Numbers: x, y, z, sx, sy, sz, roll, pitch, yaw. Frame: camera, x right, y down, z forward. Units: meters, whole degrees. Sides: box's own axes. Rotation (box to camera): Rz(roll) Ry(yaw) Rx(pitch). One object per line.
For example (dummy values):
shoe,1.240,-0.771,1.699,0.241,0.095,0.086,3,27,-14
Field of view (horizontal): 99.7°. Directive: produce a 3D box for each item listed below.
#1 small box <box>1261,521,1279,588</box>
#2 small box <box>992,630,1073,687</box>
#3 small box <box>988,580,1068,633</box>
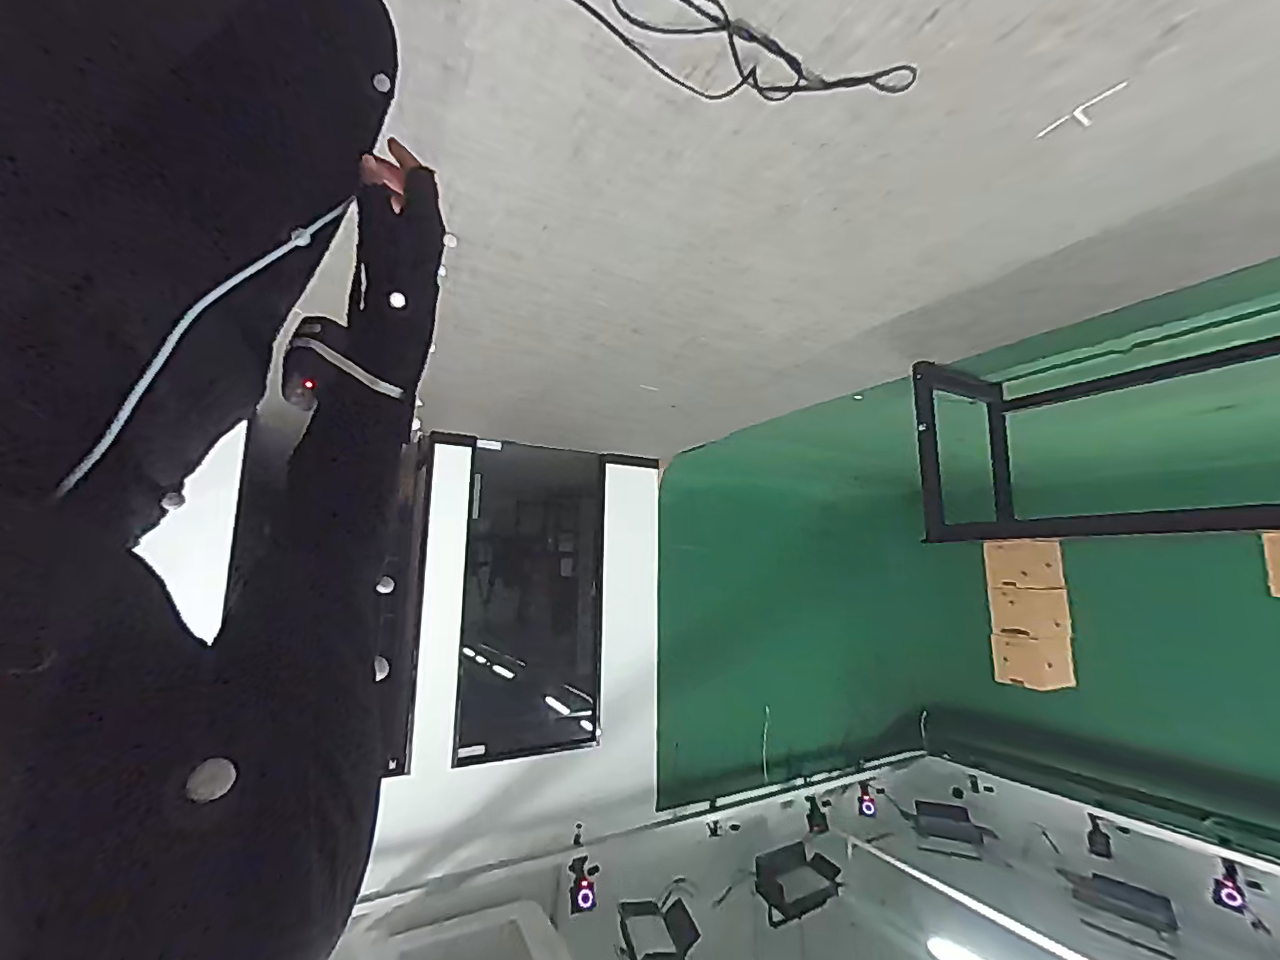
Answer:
small box,1.735,0.191,1.368,0.179,0.176,0.168,5,171,-21
small box,1.384,0.625,1.913,0.179,0.176,0.168,3,171,-22
small box,1.386,0.446,1.935,0.179,0.176,0.168,3,170,-22
